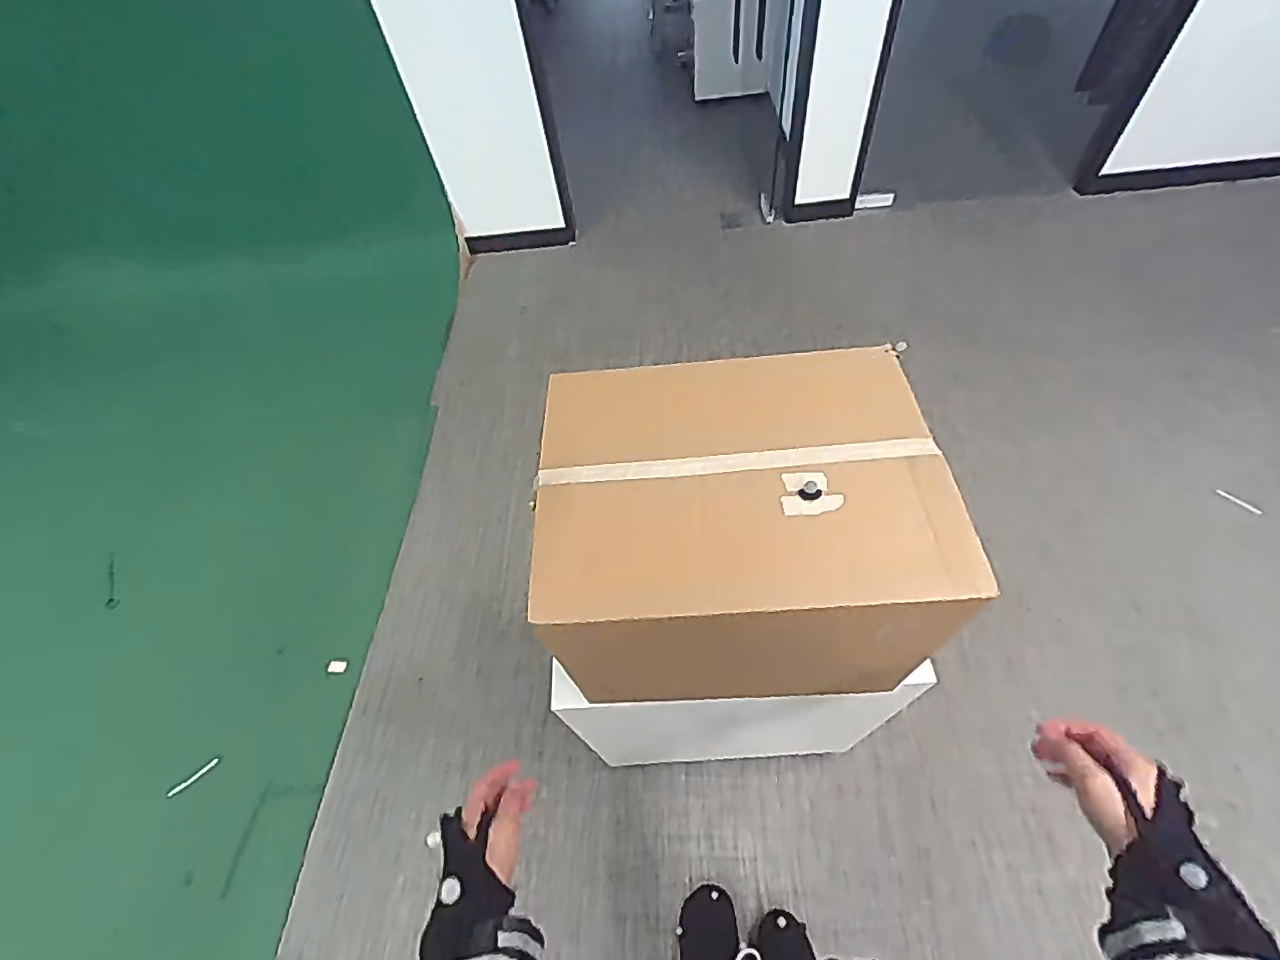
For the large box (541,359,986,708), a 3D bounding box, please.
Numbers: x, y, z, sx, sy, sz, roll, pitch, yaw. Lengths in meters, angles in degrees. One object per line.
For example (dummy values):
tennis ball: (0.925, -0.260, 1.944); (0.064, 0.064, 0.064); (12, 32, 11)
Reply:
large box: (0.111, 0.080, 0.683); (0.408, 0.320, 0.320); (-4, 55, 3)
